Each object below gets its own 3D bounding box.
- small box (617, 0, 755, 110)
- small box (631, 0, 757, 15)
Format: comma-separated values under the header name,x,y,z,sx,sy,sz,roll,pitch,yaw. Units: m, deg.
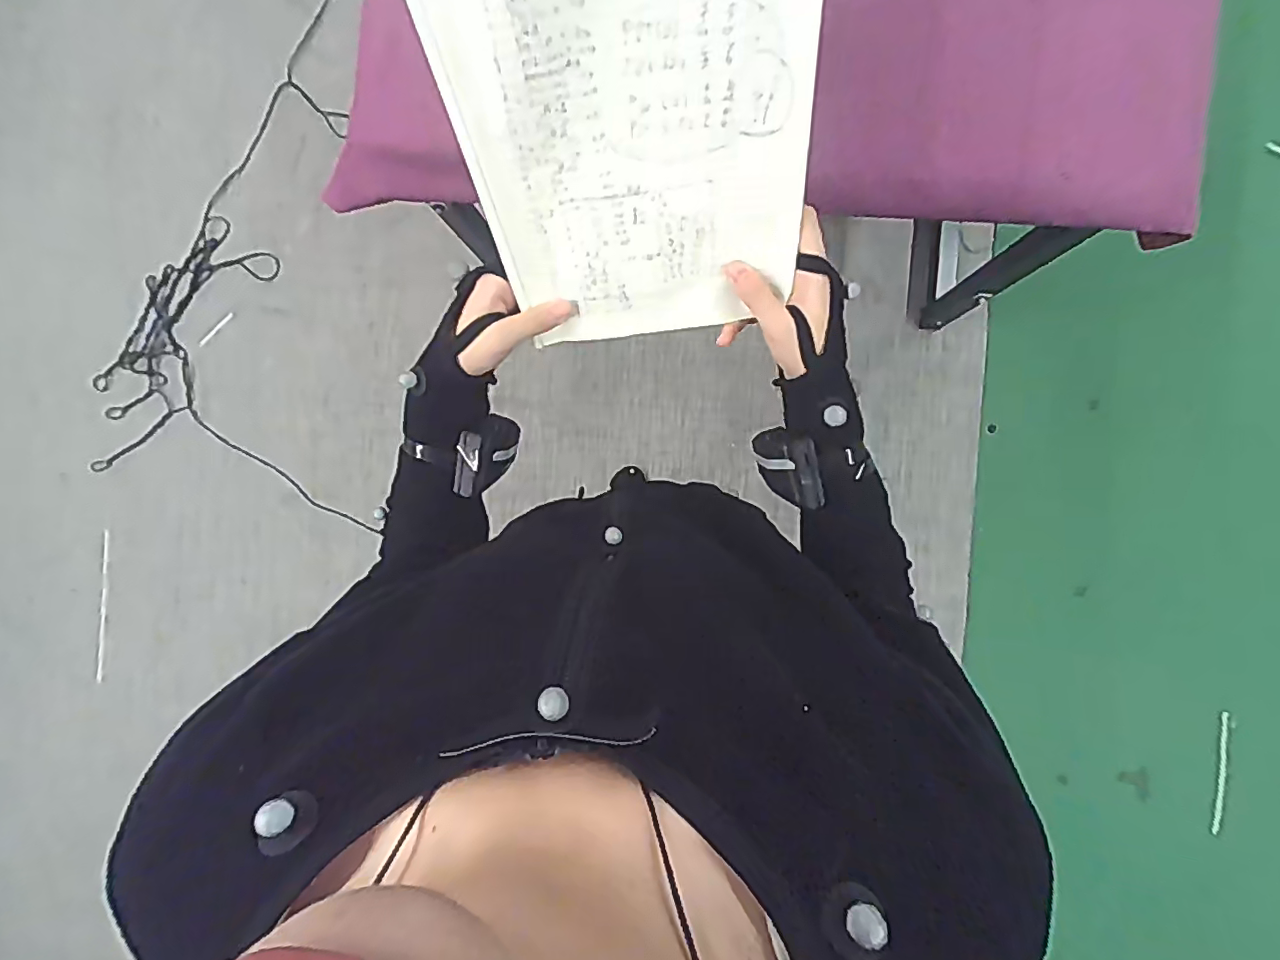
name,x,y,z,sx,sy,sz,roll,pitch,yaw
small box,0.068,-0.628,0.713,0.168,0.176,0.179,6,91,4
small box,0.056,-0.624,0.547,0.168,0.176,0.179,6,88,4
